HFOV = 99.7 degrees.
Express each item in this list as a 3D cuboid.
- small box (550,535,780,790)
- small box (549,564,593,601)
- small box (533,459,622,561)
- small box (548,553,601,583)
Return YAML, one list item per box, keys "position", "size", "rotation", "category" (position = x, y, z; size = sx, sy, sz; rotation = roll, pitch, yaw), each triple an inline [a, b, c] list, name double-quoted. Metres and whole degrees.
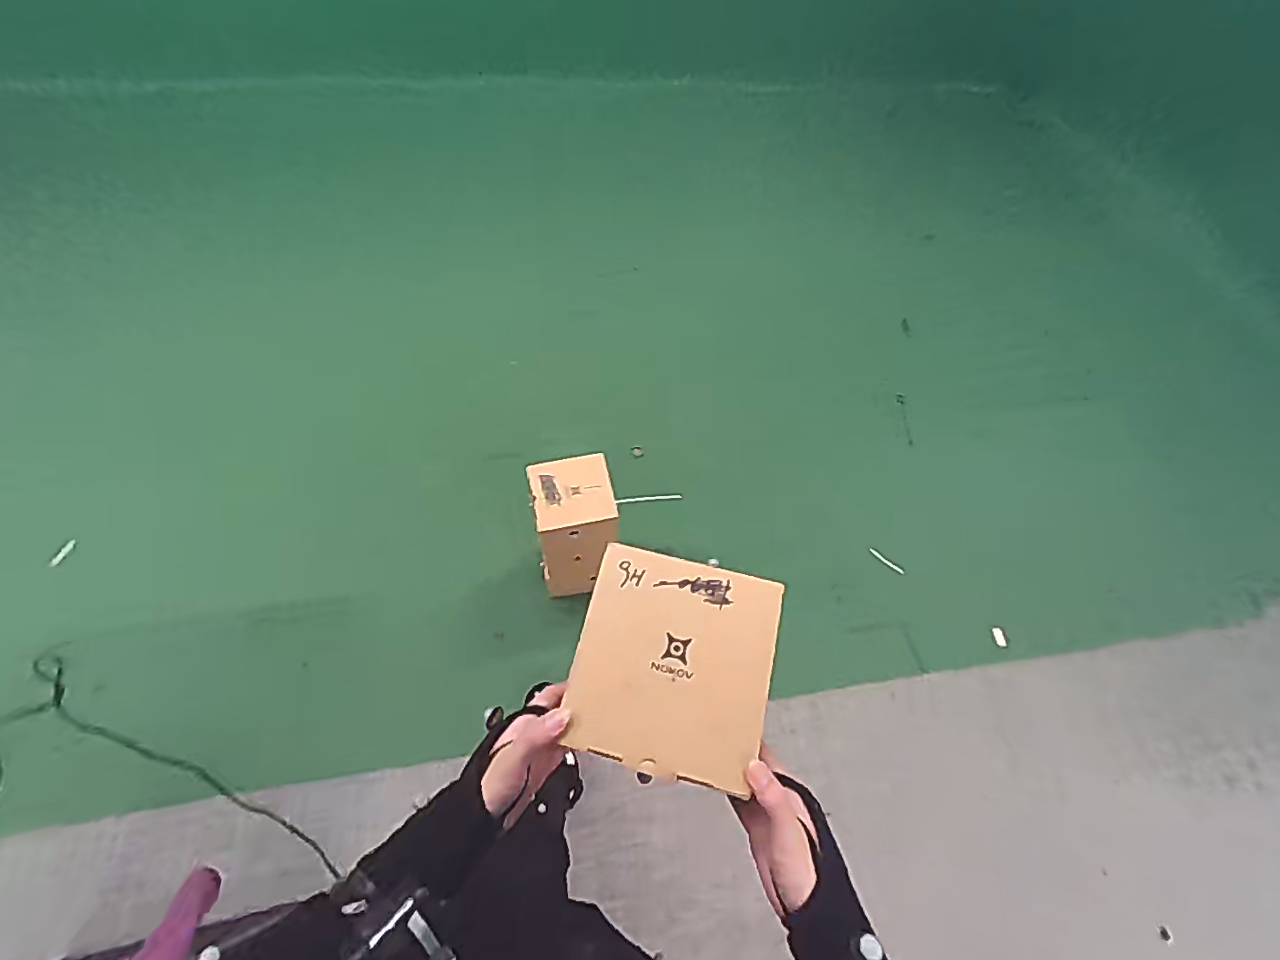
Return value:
- position: [0.027, 0.177, 0.534]
  size: [0.168, 0.176, 0.179]
  rotation: [13, 67, 6]
  category: "small box"
- position: [-0.167, 0.236, 1.537]
  size: [0.179, 0.176, 0.168]
  rotation: [-6, 62, -8]
  category: "small box"
- position: [-0.143, 0.075, 1.254]
  size: [0.179, 0.176, 0.168]
  rotation: [-10, 63, -10]
  category: "small box"
- position: [-0.150, 0.155, 1.397]
  size: [0.179, 0.176, 0.168]
  rotation: [-9, 63, -8]
  category: "small box"
